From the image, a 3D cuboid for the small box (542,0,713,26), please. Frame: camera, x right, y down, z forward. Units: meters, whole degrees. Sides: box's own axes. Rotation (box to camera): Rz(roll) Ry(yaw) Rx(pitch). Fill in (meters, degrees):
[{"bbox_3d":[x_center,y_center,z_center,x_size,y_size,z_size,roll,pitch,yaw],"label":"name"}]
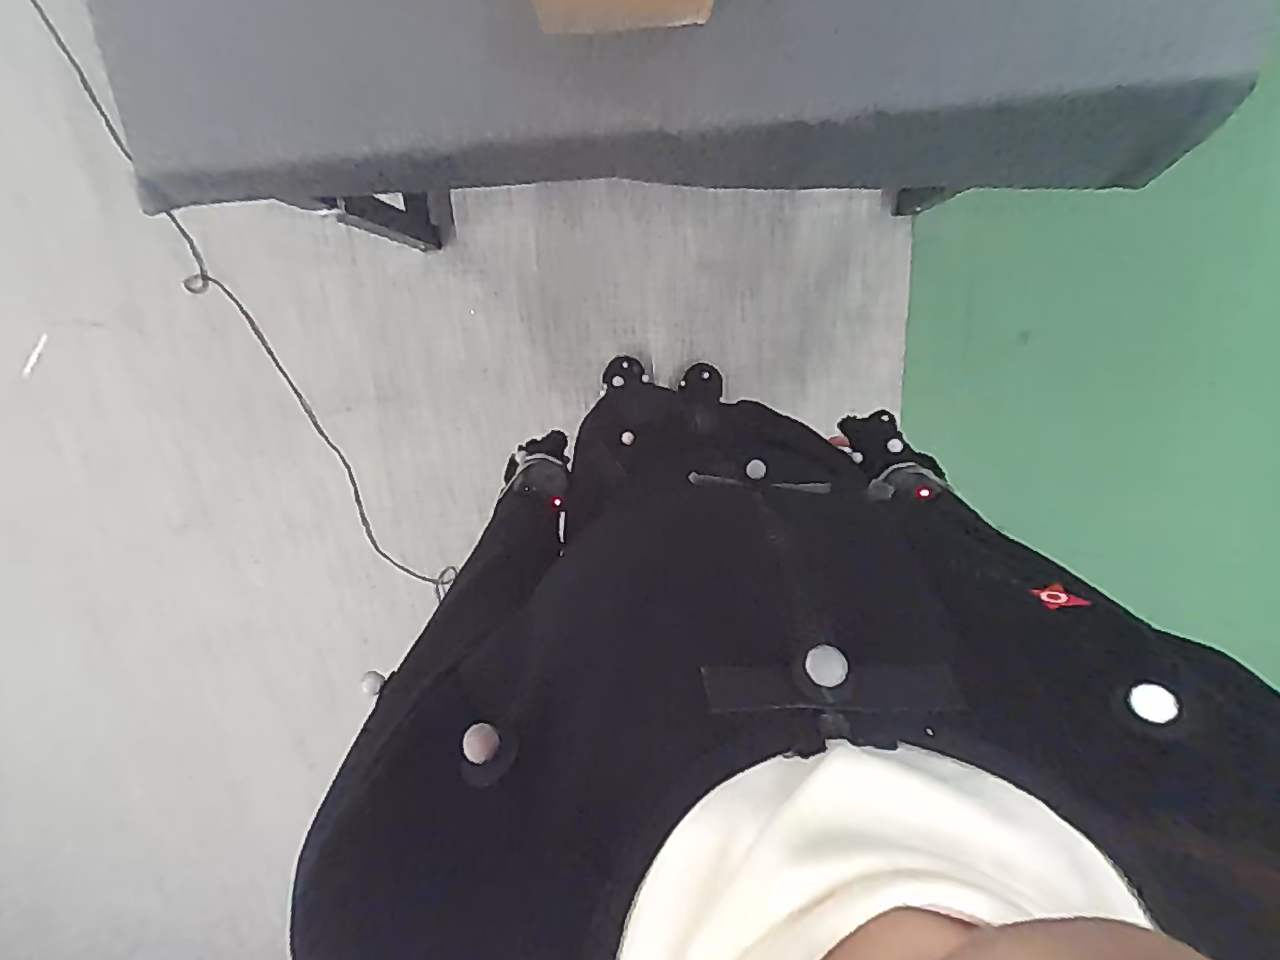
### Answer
[{"bbox_3d":[-0.017,-0.533,0.468,0.179,0.176,0.168,-3,106,2],"label":"small box"}]
